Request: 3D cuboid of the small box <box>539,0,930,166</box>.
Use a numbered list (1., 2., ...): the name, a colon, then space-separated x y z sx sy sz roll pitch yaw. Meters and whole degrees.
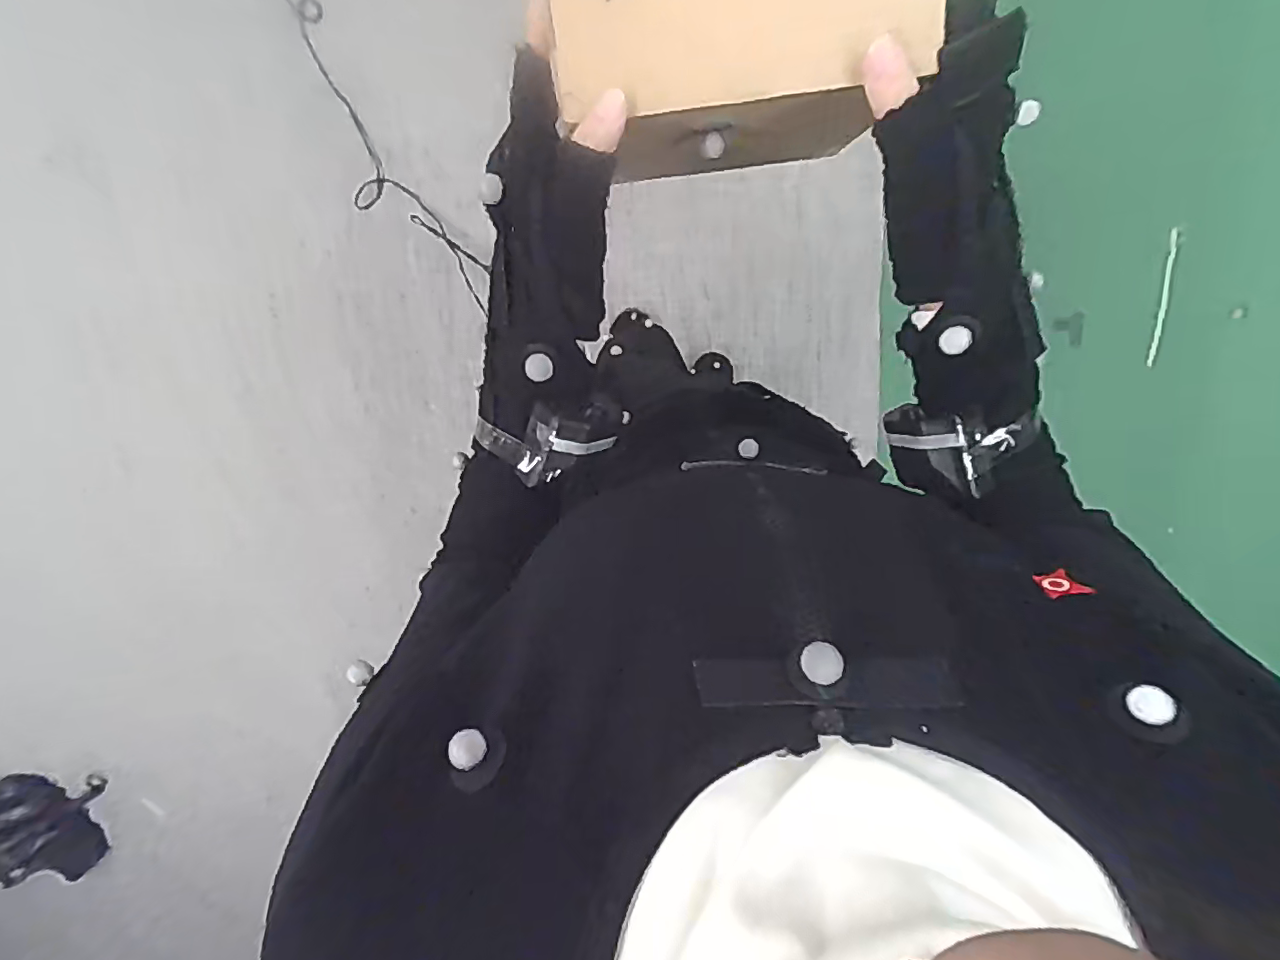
1. small box: 0.040 -0.290 0.300 0.179 0.176 0.168 -5 110 4
